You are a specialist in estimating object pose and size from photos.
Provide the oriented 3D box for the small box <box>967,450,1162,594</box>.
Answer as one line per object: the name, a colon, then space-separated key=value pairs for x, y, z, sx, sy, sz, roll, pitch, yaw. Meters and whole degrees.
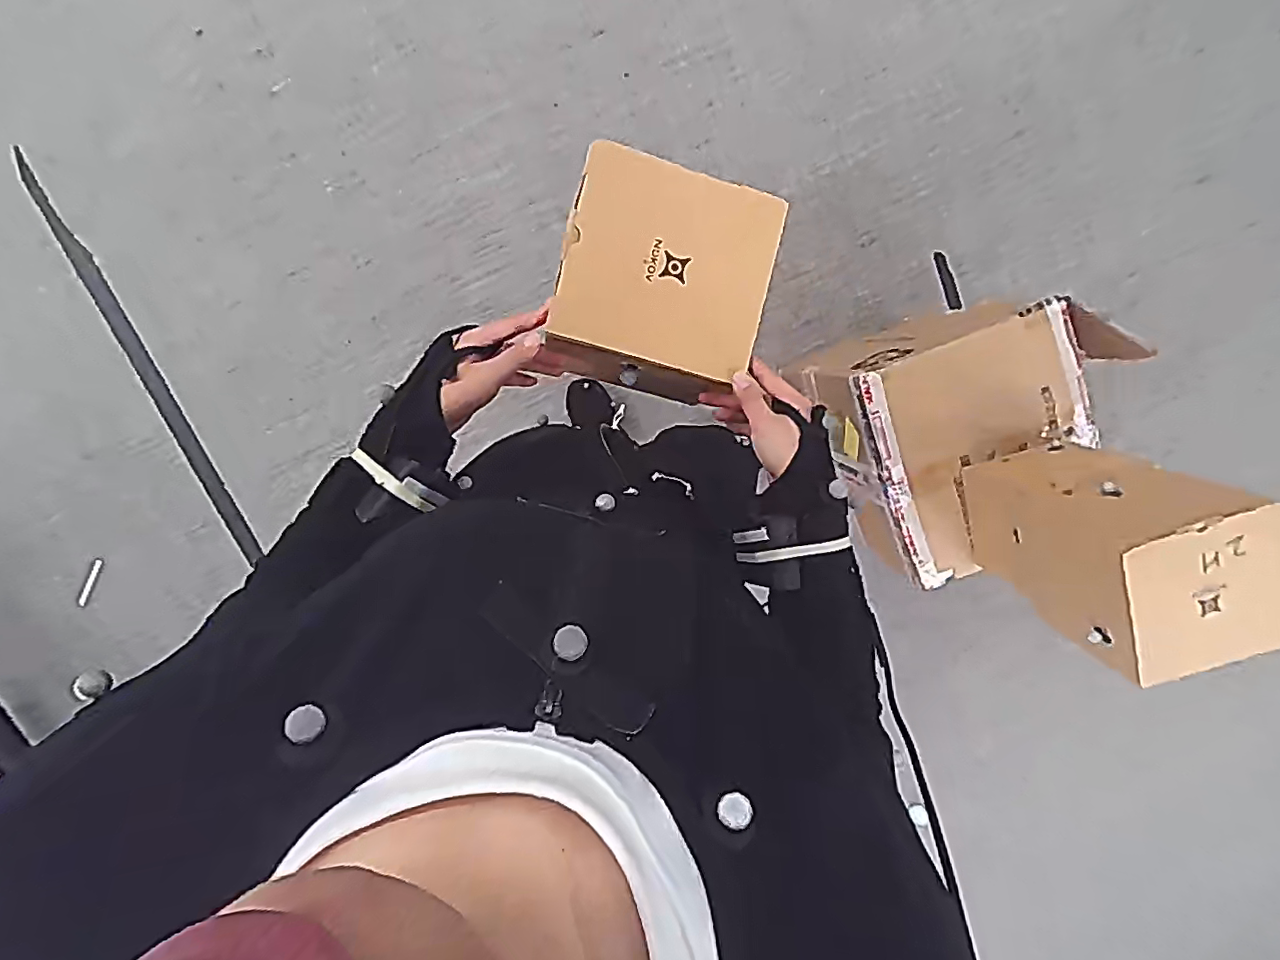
small box: x=0.615 y=0.062 z=0.798 sx=0.168 sy=0.176 sz=0.179 roll=-16 pitch=104 yaw=4

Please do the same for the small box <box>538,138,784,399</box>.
small box: x=0.010 y=-0.180 z=0.525 sx=0.179 sy=0.176 sz=0.168 roll=13 pitch=90 yaw=-7

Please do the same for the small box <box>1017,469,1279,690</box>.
small box: x=0.591 y=0.106 z=0.639 sx=0.168 sy=0.176 sz=0.179 roll=-19 pitch=103 yaw=4
